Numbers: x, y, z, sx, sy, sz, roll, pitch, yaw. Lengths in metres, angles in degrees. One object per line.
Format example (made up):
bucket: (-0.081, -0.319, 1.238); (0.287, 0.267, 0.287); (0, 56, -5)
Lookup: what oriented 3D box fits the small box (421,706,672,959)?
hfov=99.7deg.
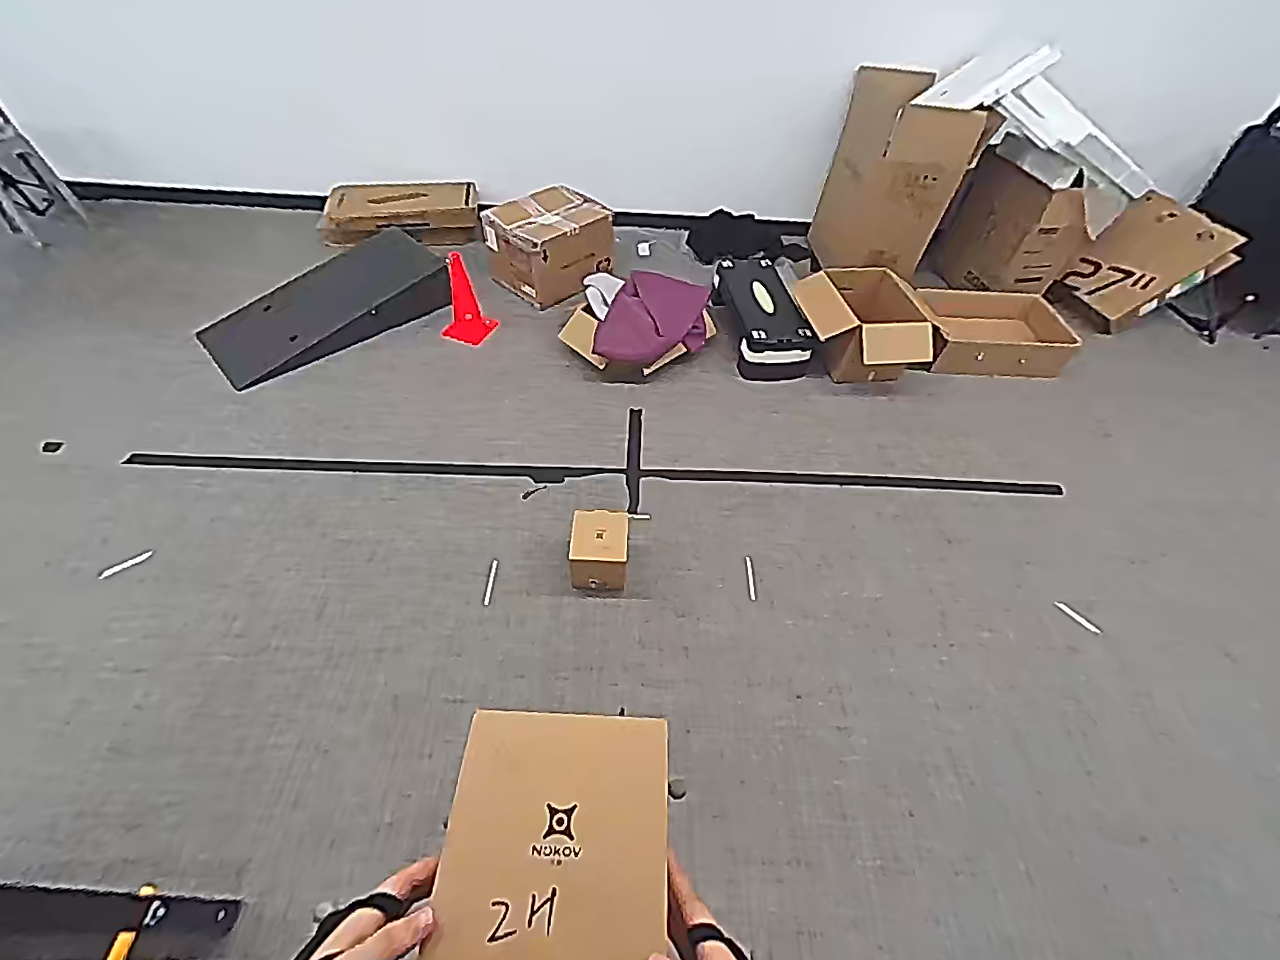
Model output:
small box: (-0.060, 0.314, 0.461); (0.168, 0.176, 0.179); (2, 48, 1)

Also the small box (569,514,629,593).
small box: (-0.122, 0.222, 1.635); (0.168, 0.176, 0.179); (2, 51, -1)
